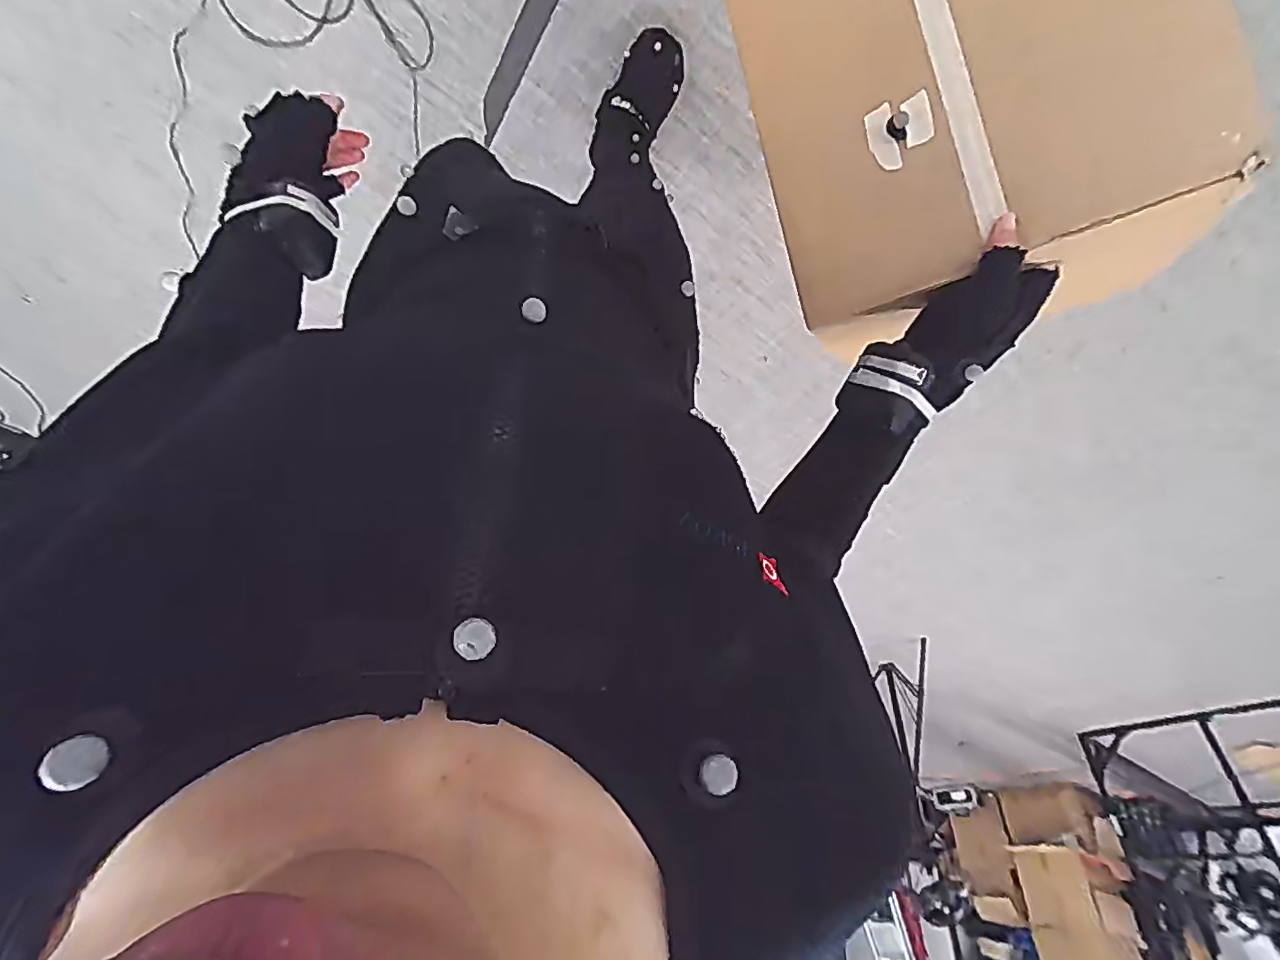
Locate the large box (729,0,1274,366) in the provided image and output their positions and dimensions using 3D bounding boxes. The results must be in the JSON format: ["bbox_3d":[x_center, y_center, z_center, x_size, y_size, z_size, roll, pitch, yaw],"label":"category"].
[{"bbox_3d":[0.324,-0.377,0.578,0.320,0.408,0.320,-15,176,30],"label":"large box"}]
